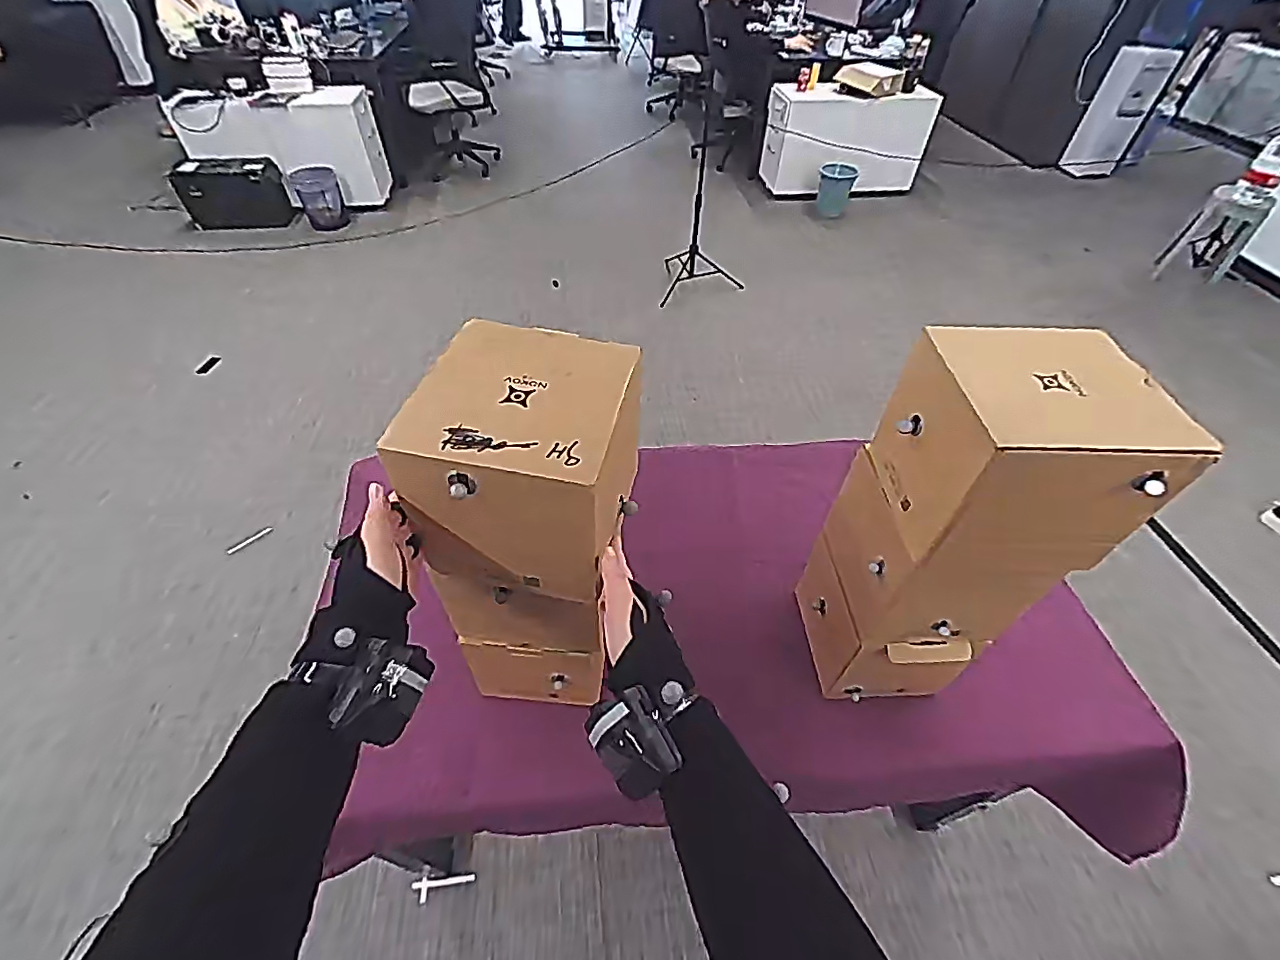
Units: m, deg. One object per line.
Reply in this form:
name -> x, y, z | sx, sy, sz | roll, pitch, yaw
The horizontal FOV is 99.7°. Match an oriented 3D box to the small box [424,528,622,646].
small box -> -0.118, 0.078, 0.632 | 0.179, 0.176, 0.168 | 7, 49, 3

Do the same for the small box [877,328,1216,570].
small box -> 0.349, -0.027, 0.519 | 0.179, 0.176, 0.168 | 1, 48, -1

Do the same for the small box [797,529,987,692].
small box -> 0.336, 0.188, 0.764 | 0.168, 0.176, 0.179 | -1, 47, -3

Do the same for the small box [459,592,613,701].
small box -> -0.128, 0.189, 0.752 | 0.168, 0.176, 0.179 | 6, 48, 2

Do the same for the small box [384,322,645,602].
small box -> -0.096, -0.017, 0.498 | 0.168, 0.176, 0.179 | 10, 48, 6
